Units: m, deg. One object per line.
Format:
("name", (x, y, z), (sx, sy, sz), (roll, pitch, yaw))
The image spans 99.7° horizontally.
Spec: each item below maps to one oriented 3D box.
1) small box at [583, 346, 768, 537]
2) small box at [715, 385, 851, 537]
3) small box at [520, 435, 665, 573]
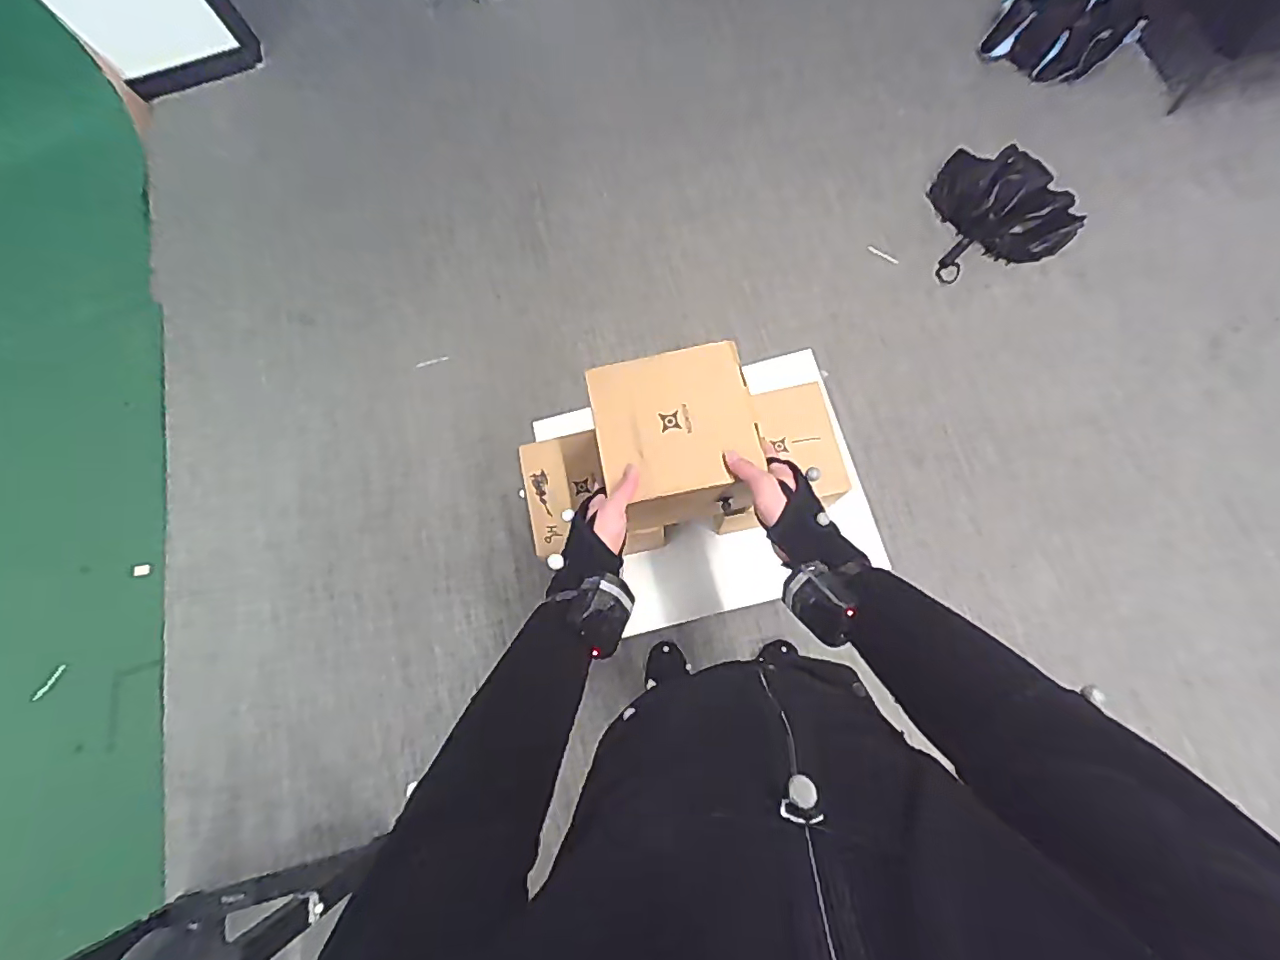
("small box", (0.042, -0.036, 0.663), (0.179, 0.176, 0.168), (-13, 73, 3))
("small box", (0.188, -0.019, 0.812), (0.179, 0.176, 0.168), (-12, 75, 1))
("small box", (-0.066, 0.037, 0.821), (0.179, 0.176, 0.168), (-14, 74, -1))
